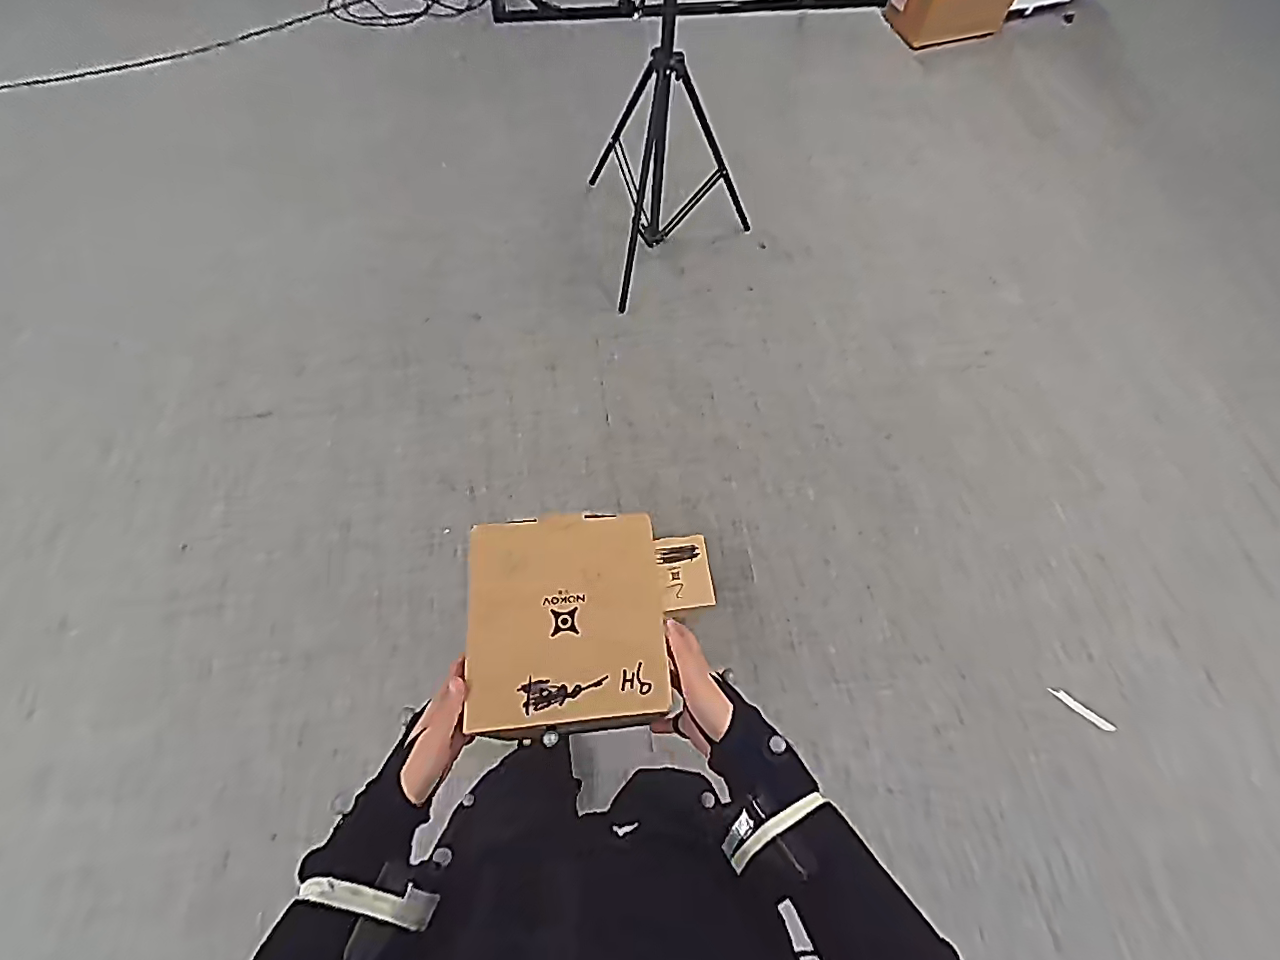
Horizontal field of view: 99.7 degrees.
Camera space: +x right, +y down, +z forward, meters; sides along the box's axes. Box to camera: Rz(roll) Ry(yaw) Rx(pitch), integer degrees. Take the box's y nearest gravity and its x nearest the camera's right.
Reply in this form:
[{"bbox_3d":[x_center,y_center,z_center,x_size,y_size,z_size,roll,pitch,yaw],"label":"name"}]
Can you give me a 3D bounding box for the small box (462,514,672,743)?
[{"bbox_3d":[-0.068,0.150,0.528,0.168,0.176,0.179,-4,63,-6],"label":"small box"}]
